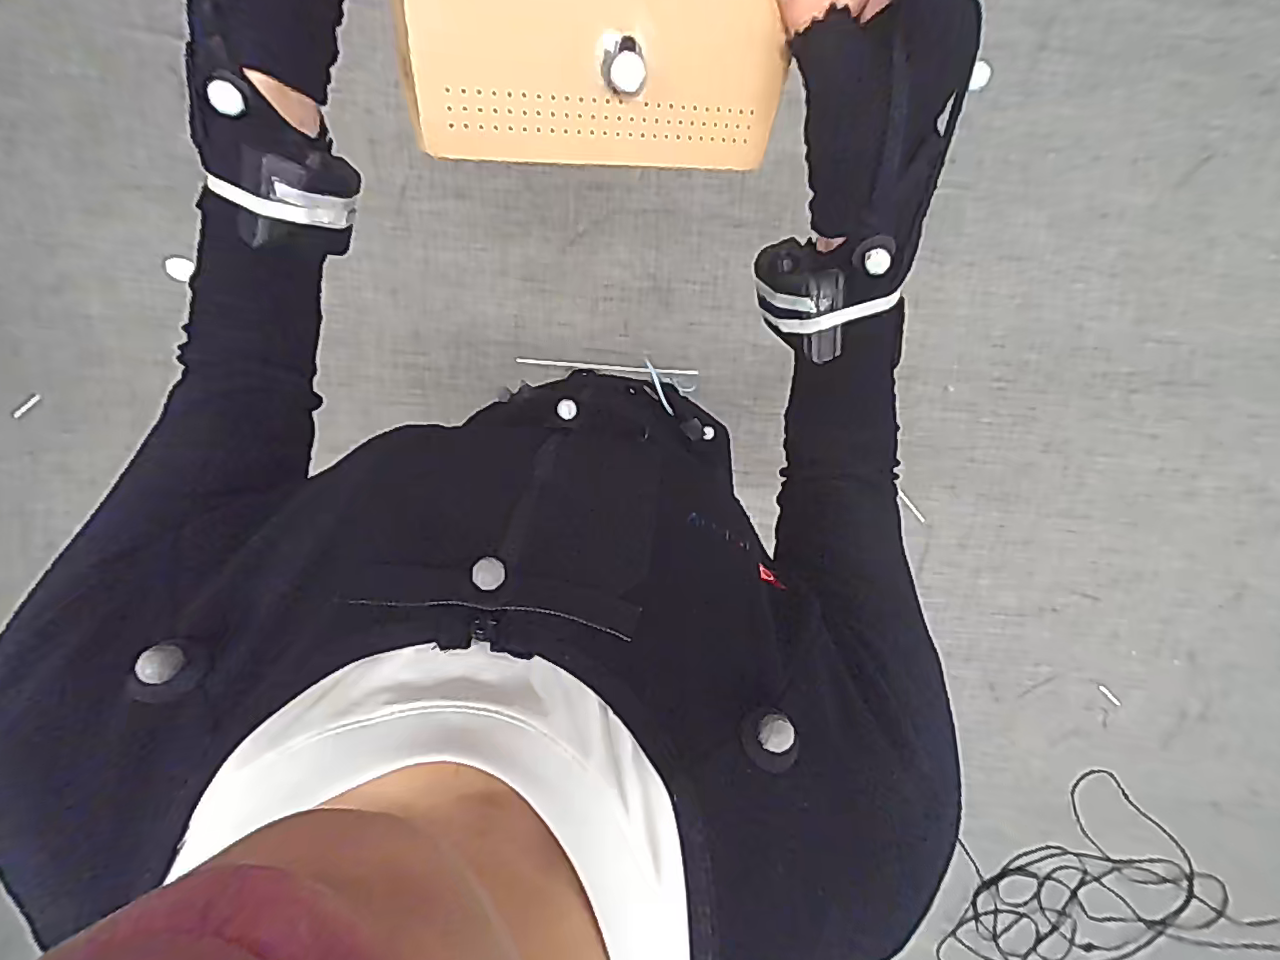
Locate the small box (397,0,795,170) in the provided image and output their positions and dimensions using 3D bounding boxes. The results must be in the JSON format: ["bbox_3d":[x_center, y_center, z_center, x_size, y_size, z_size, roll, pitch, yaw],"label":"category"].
[{"bbox_3d":[-0.029,-0.272,0.268,0.179,0.168,0.176,-9,139,-20],"label":"small box"}]
